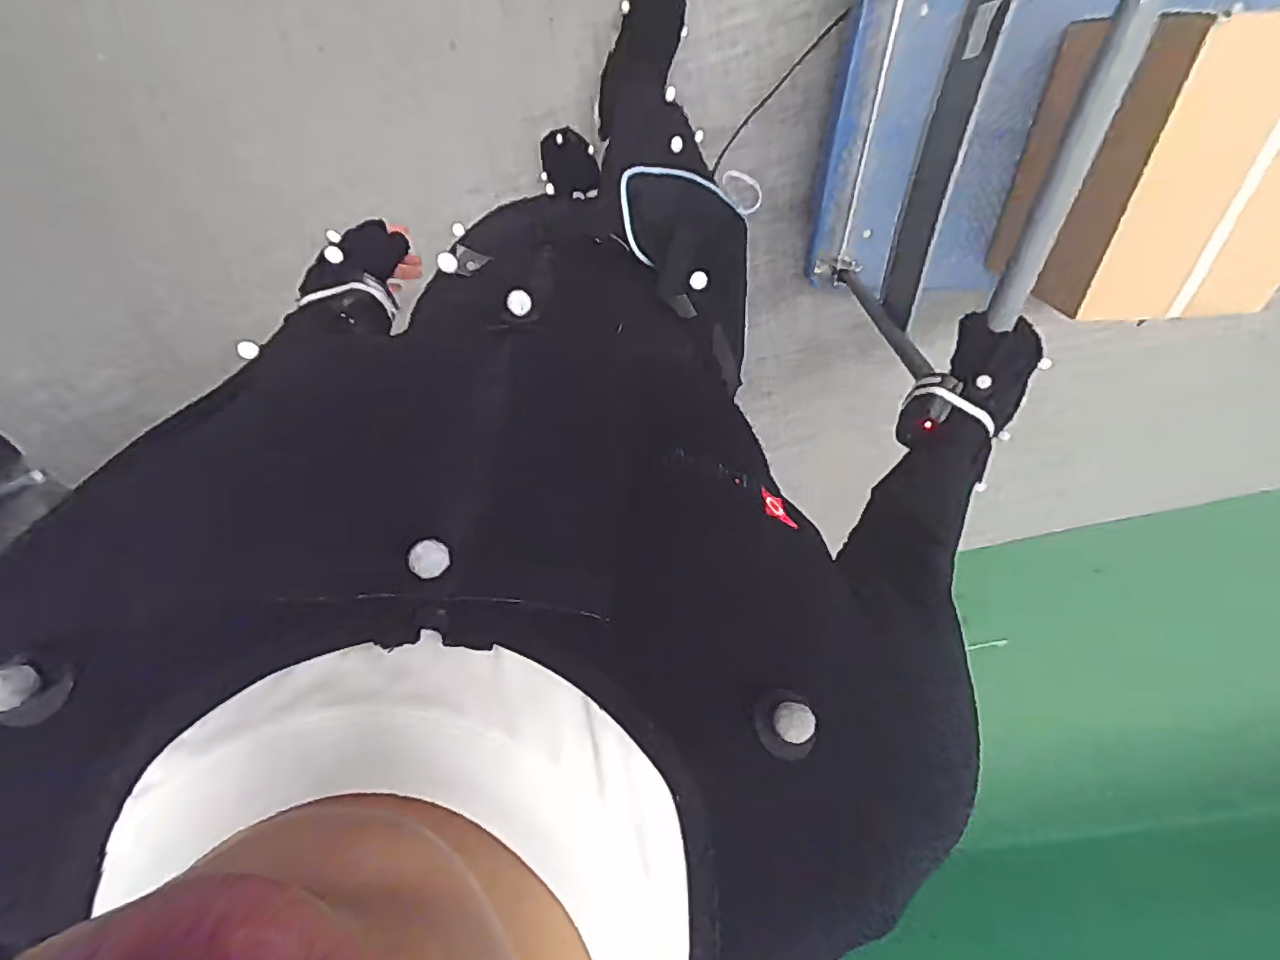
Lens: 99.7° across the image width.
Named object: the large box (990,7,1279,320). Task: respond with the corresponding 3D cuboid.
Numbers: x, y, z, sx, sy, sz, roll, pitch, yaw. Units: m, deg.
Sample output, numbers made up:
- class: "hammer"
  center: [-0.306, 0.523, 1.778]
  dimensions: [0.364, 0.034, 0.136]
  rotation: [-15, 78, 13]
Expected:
- class: "large box"
  center: [0.877, -0.526, 0.913]
  dimensions: [0.320, 0.320, 0.408]
  rotation: [-3, 128, 2]
